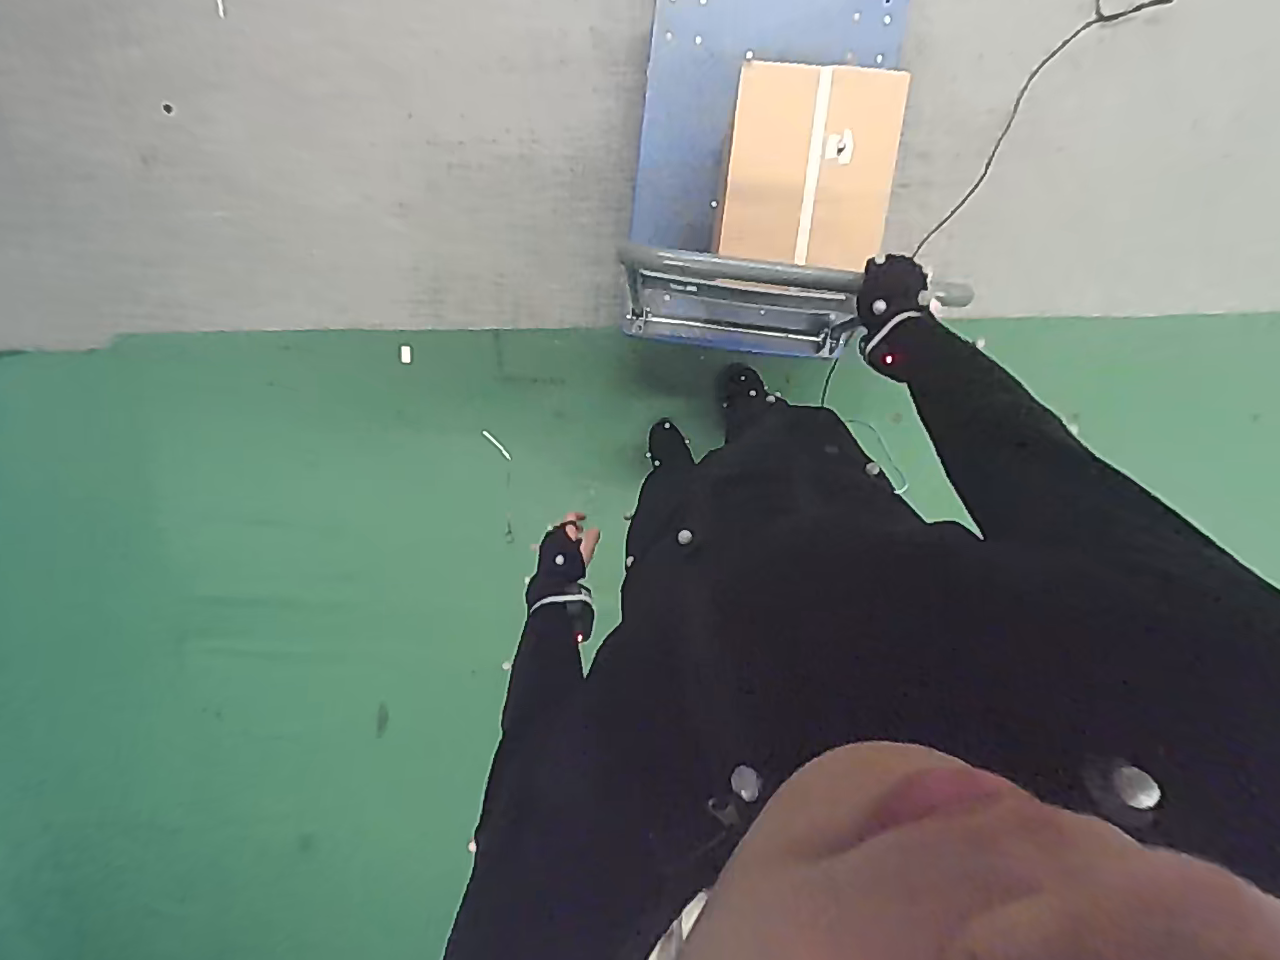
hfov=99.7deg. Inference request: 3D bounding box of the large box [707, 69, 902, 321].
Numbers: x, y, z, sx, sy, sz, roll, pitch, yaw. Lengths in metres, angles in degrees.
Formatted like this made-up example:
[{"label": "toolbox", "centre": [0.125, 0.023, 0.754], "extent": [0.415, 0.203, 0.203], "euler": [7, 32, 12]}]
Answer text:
[{"label": "large box", "centre": [0.326, -0.582, 1.184], "extent": [0.320, 0.320, 0.408], "euler": [6, 100, 1]}]
